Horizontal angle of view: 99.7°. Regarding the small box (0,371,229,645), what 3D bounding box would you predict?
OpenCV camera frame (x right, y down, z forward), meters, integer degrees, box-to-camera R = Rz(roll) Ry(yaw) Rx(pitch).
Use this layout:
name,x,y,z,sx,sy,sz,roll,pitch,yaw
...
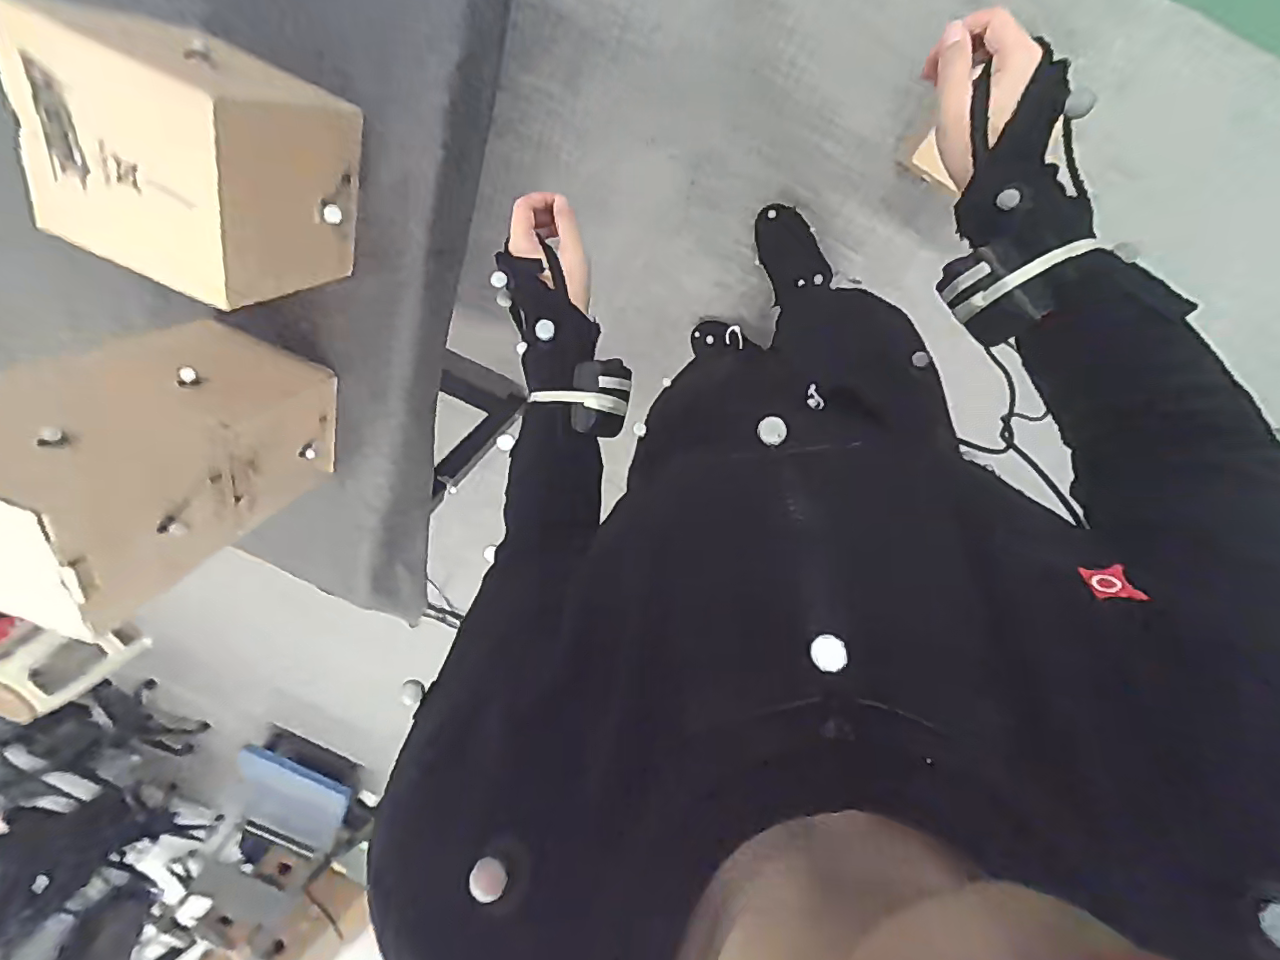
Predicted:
name,x,y,z,sx,sy,sz,roll,pitch,yaw
small box,-0.532,0.017,0.514,0.179,0.176,0.168,21,123,-1

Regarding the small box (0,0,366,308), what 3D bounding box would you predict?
name,x,y,z,sx,sy,sz,roll,pitch,yaw
small box,-0.385,-0.282,0.488,0.179,0.176,0.168,25,124,-1

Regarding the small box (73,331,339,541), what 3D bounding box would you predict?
name,x,y,z,sx,sy,sz,roll,pitch,yaw
small box,-0.503,-0.063,0.654,0.179,0.176,0.168,23,123,-1

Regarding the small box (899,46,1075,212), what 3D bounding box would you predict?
name,x,y,z,sx,sy,sz,roll,pitch,yaw
small box,0.579,-0.599,0.934,0.168,0.176,0.179,30,124,-4
